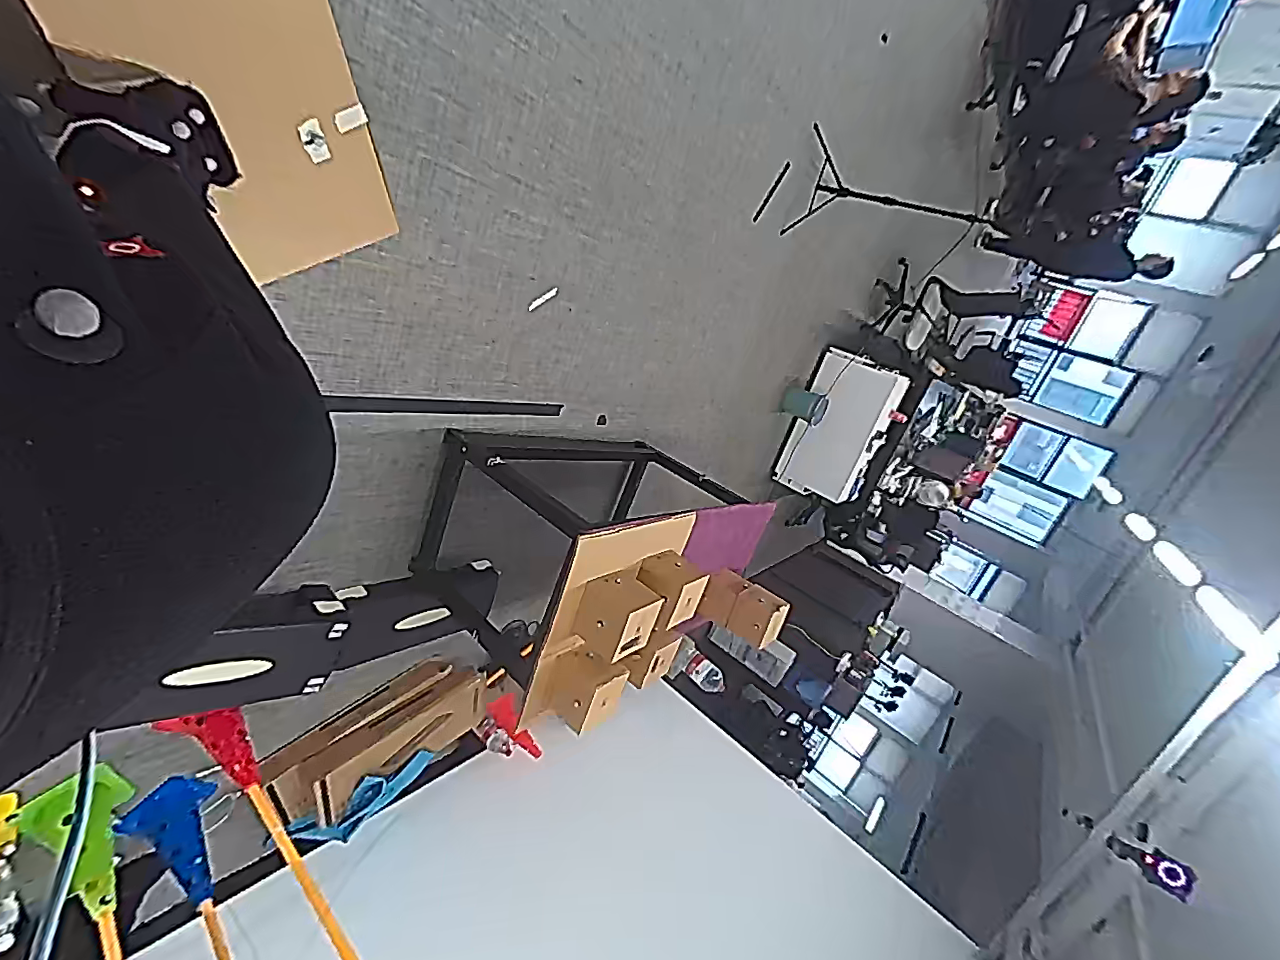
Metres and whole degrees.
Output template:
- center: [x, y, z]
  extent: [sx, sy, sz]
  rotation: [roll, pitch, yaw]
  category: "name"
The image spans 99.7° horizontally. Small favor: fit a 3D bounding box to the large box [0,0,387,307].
- center: [-0.629, -0.454, 0.702]
  extent: [0.320, 0.408, 0.320]
  rotation: [-52, 150, -42]
  category: "large box"
